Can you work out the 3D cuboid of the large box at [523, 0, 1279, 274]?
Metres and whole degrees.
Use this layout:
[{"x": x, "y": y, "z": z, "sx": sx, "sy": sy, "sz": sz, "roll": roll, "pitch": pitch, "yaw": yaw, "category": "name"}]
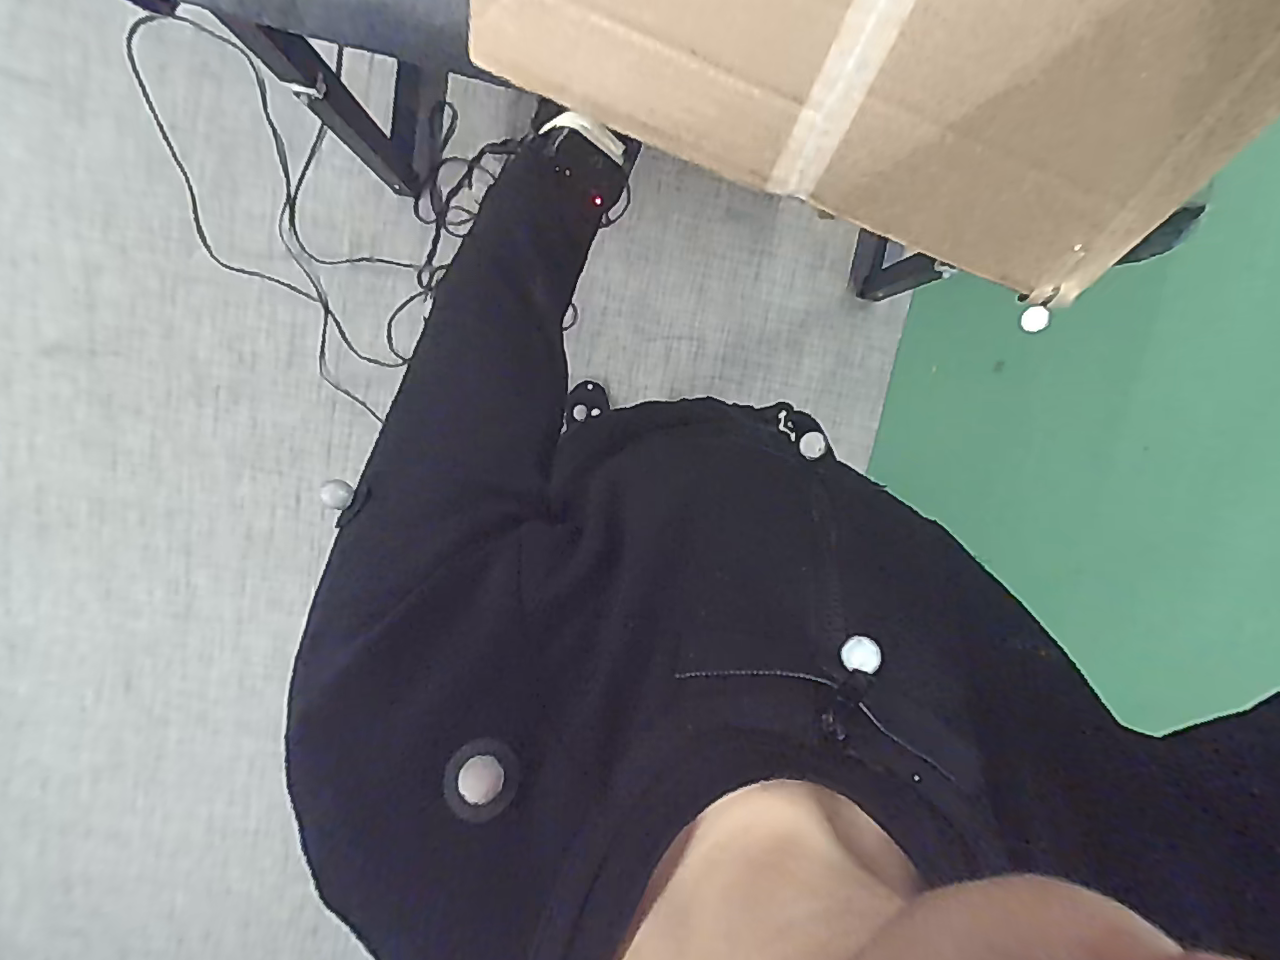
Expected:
[{"x": 0.162, "y": -0.378, "z": 0.204, "sx": 0.320, "sy": 0.408, "sz": 0.320, "roll": 18, "pitch": 55, "yaw": -5, "category": "large box"}]
